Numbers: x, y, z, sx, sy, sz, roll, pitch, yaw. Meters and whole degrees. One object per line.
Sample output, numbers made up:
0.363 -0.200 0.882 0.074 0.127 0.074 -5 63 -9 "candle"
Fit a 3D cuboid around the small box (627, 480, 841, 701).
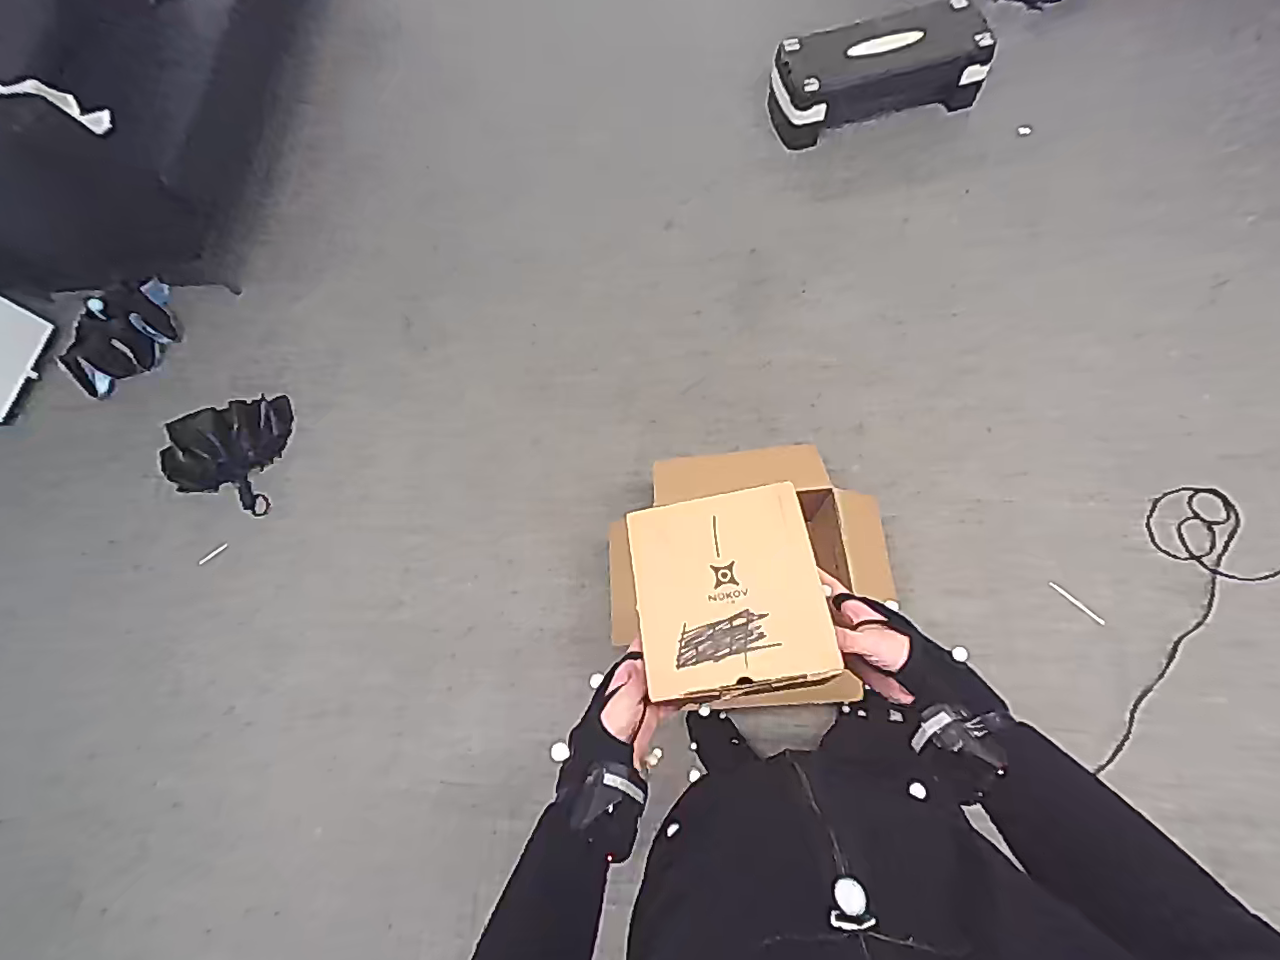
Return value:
0.093 0.124 0.555 0.168 0.176 0.179 -12 64 7 "small box"
